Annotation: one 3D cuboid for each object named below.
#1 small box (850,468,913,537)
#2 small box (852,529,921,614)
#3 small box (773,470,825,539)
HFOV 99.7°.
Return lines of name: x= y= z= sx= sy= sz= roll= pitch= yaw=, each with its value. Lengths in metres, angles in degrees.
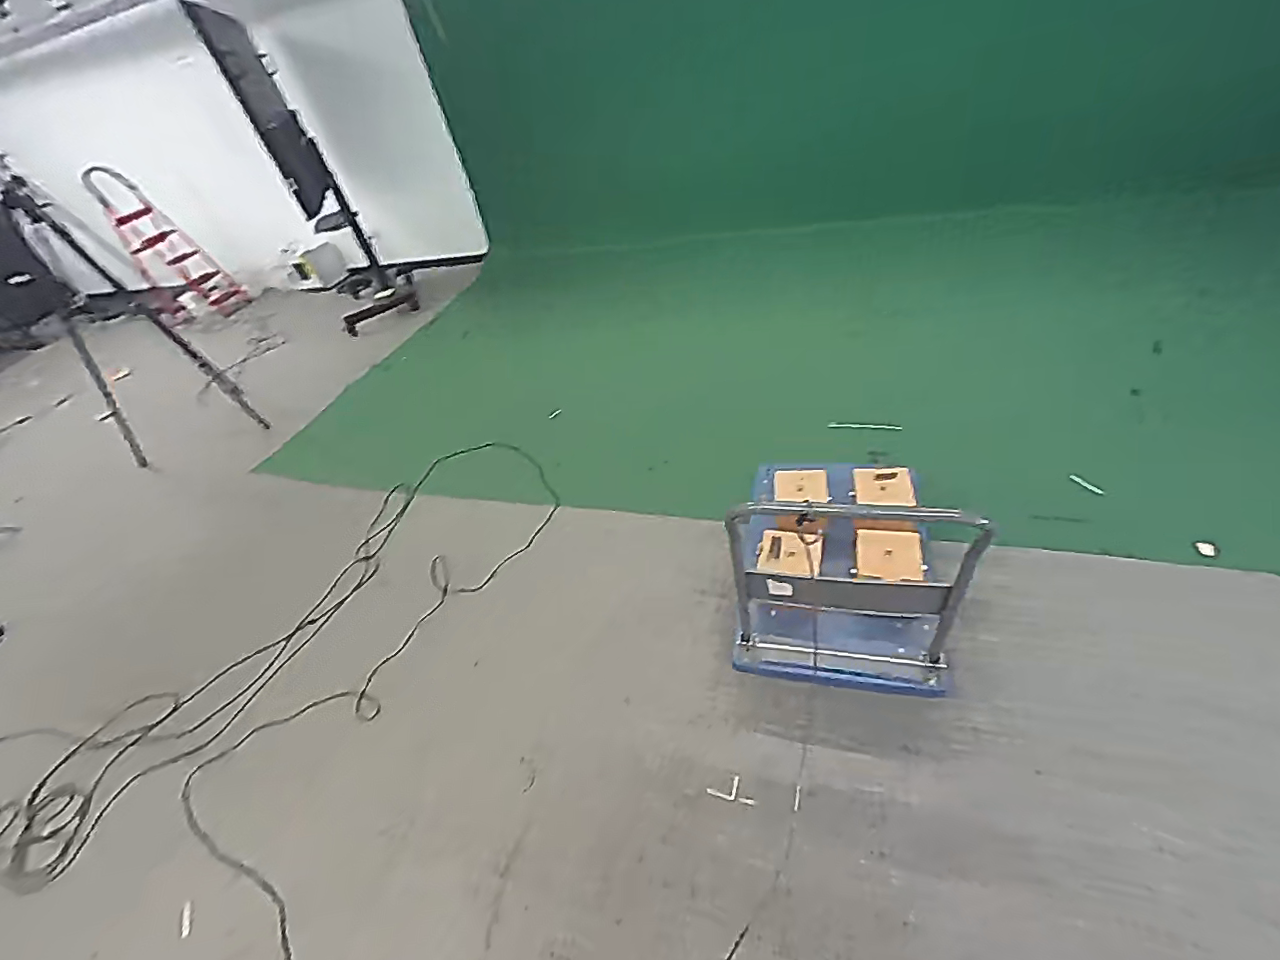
small box: x=0.784 y=0.080 z=1.770 sx=0.168 sy=0.176 sz=0.179 roll=-2 pitch=45 yaw=16
small box: x=0.717 y=0.267 z=1.588 sx=0.168 sy=0.176 sz=0.179 roll=3 pitch=46 yaw=19
small box: x=0.540 y=0.084 z=1.837 sx=0.168 sy=0.176 sz=0.179 roll=0 pitch=44 yaw=15
